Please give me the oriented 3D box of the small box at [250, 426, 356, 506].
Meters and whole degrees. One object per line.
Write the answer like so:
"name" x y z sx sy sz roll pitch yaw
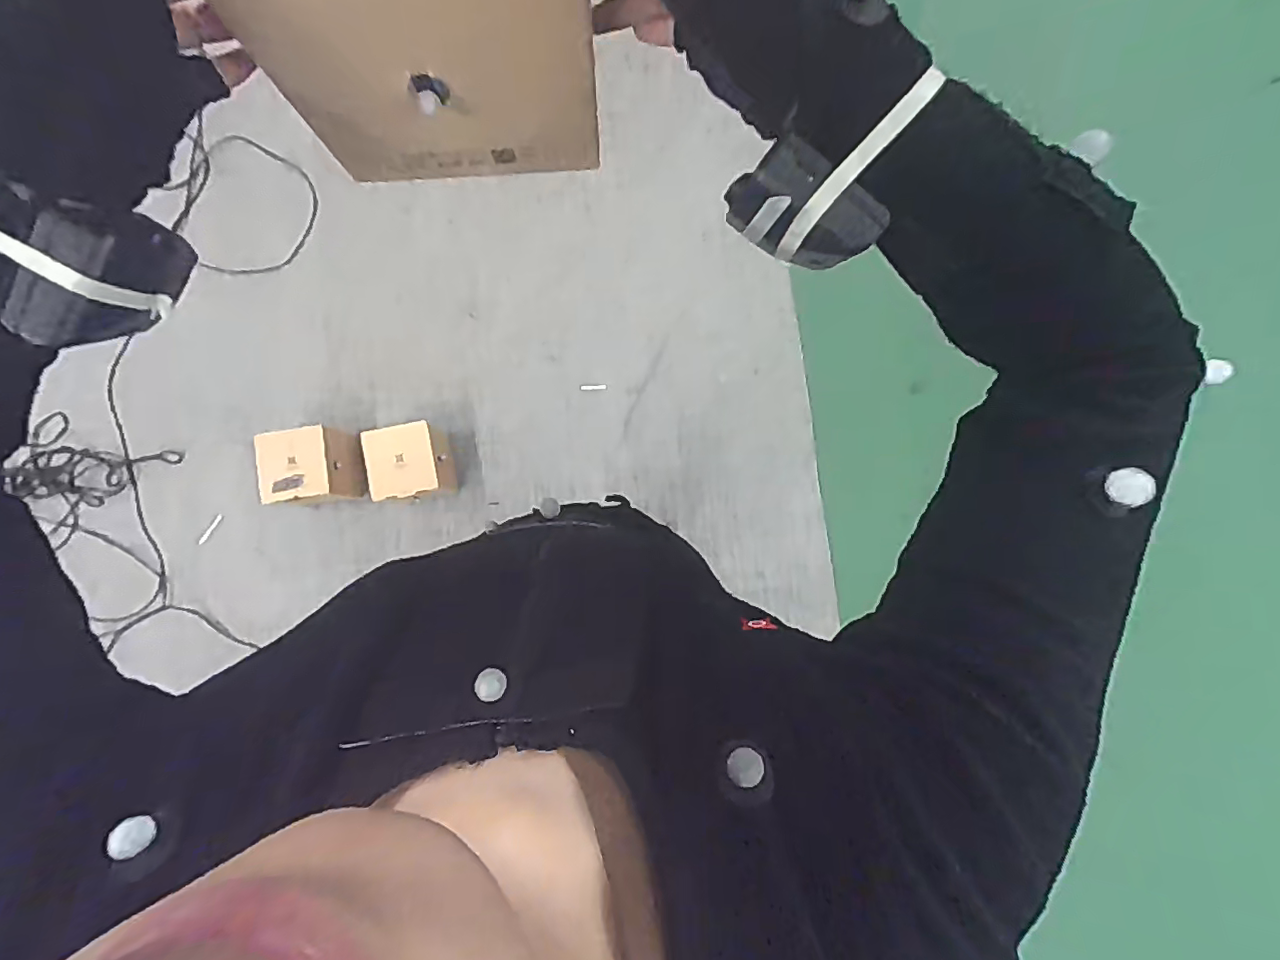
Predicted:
"small box" -0.851 -0.030 1.381 0.168 0.176 0.179 -9 85 -4

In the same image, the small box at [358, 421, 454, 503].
"small box" -0.597 -0.041 1.397 0.168 0.176 0.179 -12 87 -4
